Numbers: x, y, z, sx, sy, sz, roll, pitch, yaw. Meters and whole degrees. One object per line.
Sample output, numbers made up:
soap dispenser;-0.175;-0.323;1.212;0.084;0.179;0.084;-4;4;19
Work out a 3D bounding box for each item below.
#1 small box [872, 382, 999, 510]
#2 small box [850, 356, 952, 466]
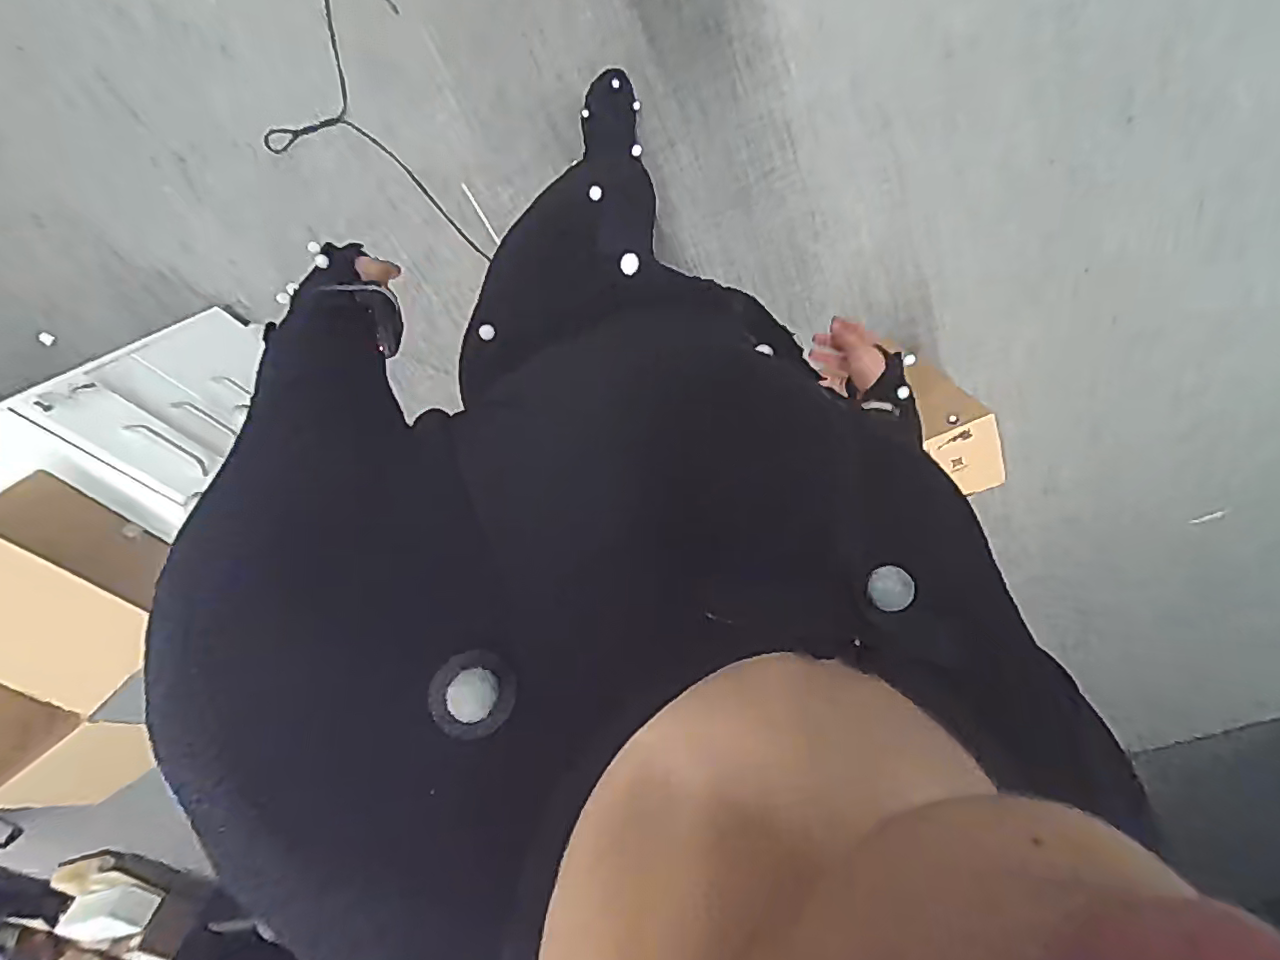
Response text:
small box;0.611;-0.073;1.130;0.168;0.176;0.179;-24;121;13
small box;0.616;-0.162;1.268;0.168;0.176;0.179;-24;120;13
